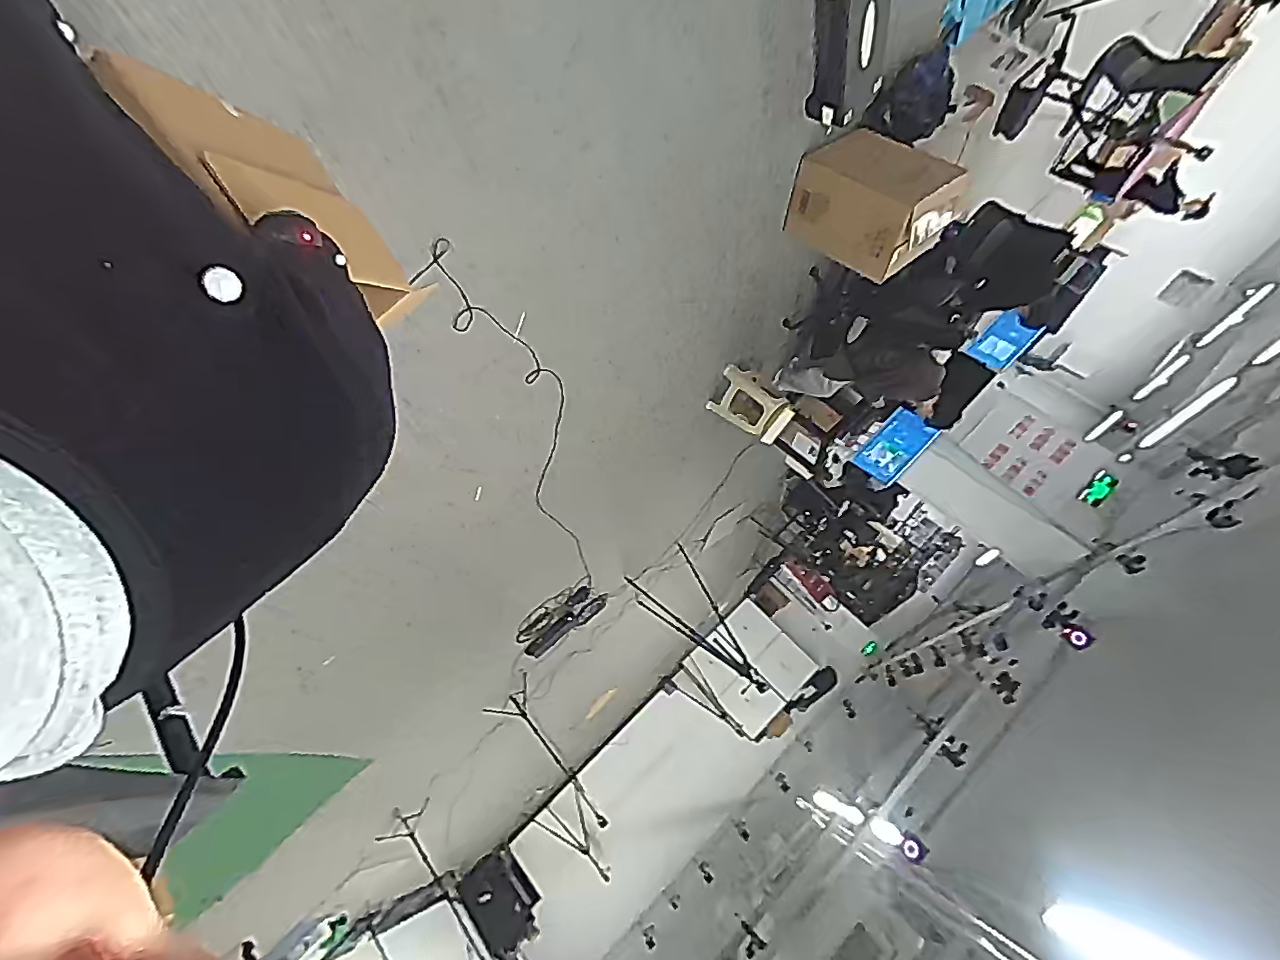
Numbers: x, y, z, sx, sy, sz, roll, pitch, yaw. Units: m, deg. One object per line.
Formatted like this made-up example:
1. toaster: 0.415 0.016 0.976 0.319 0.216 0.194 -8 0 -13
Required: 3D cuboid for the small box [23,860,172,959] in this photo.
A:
1. small box: -1.275 1.046 1.271 0.168 0.176 0.179 -44 155 -7
